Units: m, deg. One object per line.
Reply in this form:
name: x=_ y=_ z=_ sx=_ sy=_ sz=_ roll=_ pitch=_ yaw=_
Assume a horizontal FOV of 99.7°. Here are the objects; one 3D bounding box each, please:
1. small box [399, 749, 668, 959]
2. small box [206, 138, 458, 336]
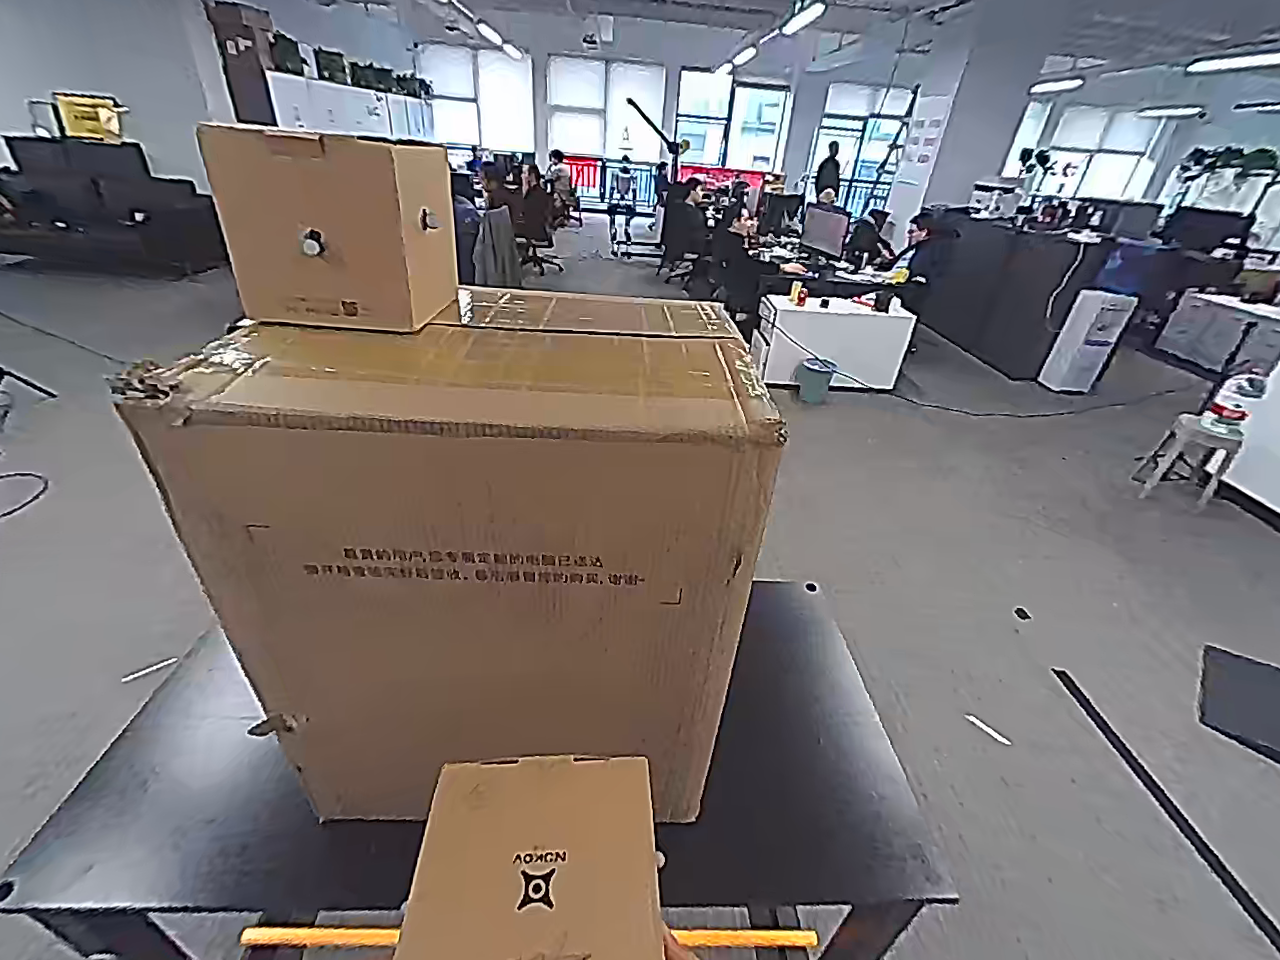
small box: x=-0.073 y=0.337 z=0.411 sx=0.168 sy=0.176 sz=0.179 roll=0 pitch=30 yaw=-6
small box: x=-0.302 y=-0.262 z=0.582 sx=0.168 sy=0.176 sz=0.179 roll=3 pitch=31 yaw=-4
